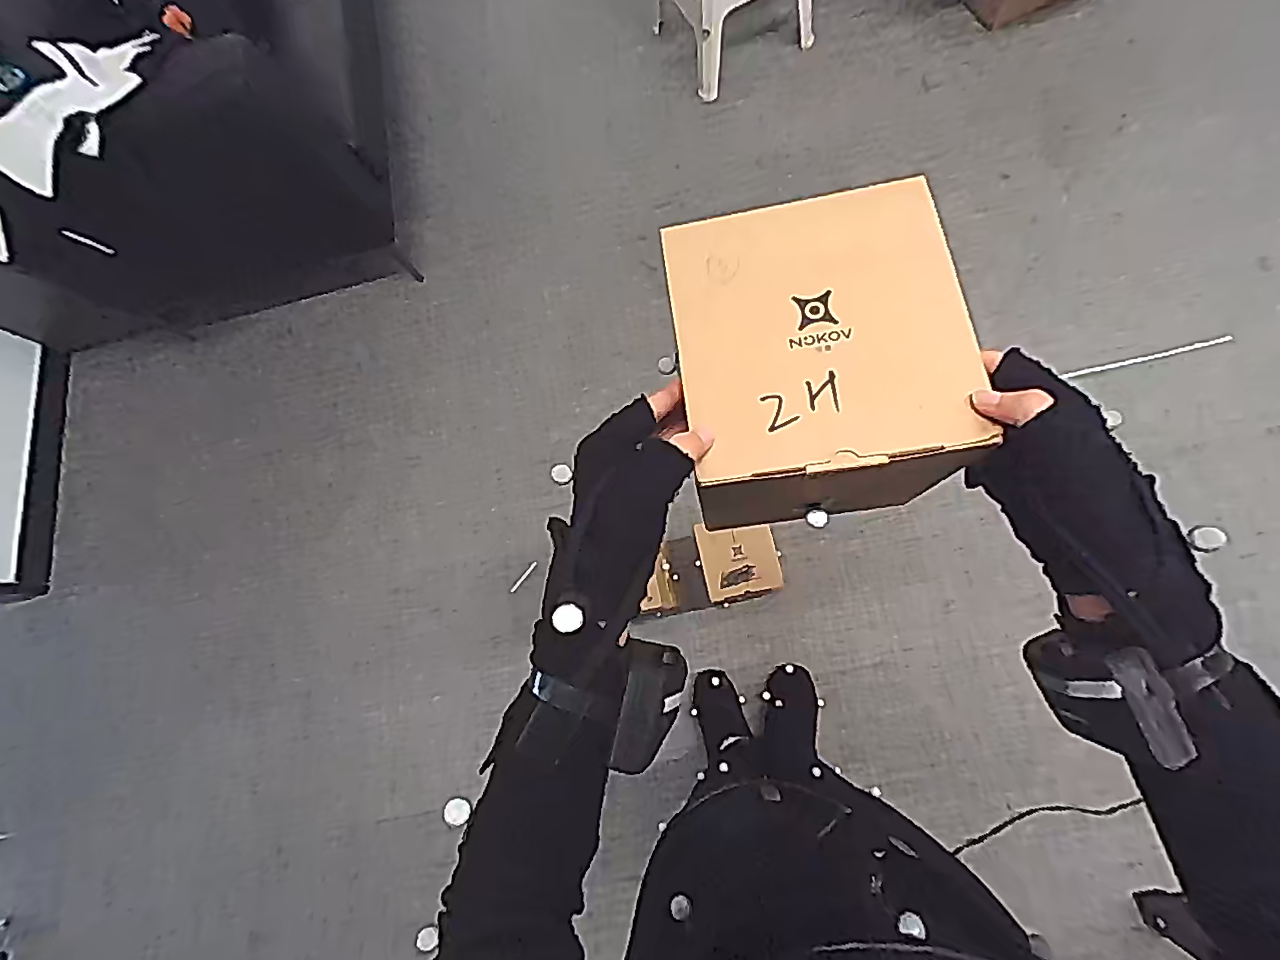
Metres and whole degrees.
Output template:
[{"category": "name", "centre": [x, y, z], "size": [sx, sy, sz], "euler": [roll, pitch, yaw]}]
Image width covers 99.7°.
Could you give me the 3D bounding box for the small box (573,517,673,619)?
[{"category": "small box", "centre": [-0.032, 0.192, 1.138], "size": [0.168, 0.176, 0.179], "euler": [-12, 74, 7]}]

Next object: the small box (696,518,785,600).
[{"category": "small box", "centre": [0.233, 0.180, 1.264], "size": [0.168, 0.176, 0.179], "euler": [-13, 74, 6]}]

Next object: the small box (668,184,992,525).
[{"category": "small box", "centre": [0.117, -0.073, 0.402], "size": [0.168, 0.176, 0.179], "euler": [-8, 75, 8]}]
